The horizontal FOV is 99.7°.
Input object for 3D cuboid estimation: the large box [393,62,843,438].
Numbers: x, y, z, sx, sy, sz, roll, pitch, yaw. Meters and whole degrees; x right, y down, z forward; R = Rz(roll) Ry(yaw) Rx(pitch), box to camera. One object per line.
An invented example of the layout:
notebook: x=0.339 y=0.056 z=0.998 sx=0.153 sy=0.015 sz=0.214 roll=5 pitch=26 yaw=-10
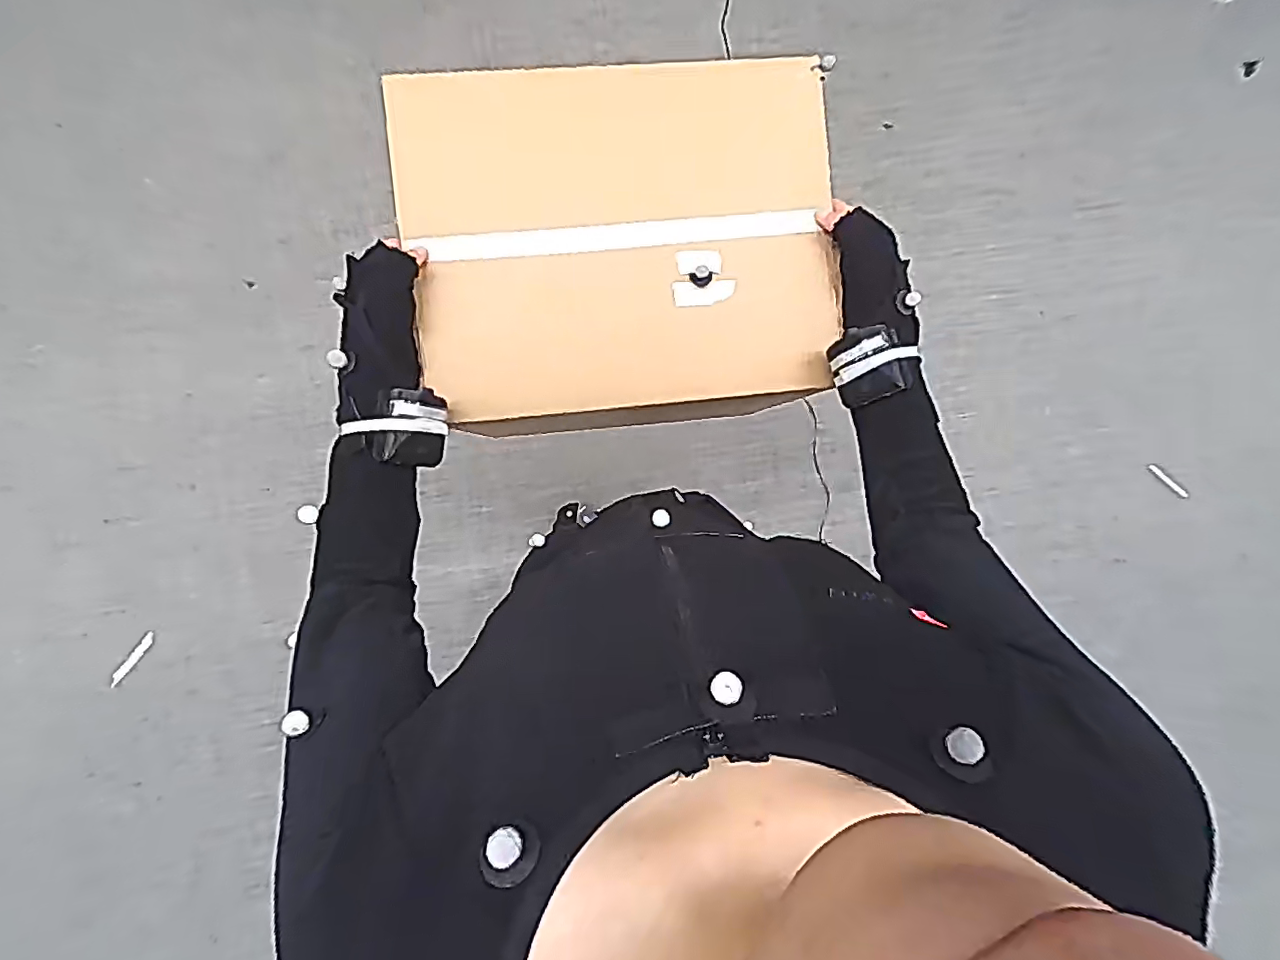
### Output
large box: x=-0.027 y=-0.233 z=0.659 sx=0.408 sy=0.320 sz=0.320 roll=-6 pitch=93 yaw=-5
